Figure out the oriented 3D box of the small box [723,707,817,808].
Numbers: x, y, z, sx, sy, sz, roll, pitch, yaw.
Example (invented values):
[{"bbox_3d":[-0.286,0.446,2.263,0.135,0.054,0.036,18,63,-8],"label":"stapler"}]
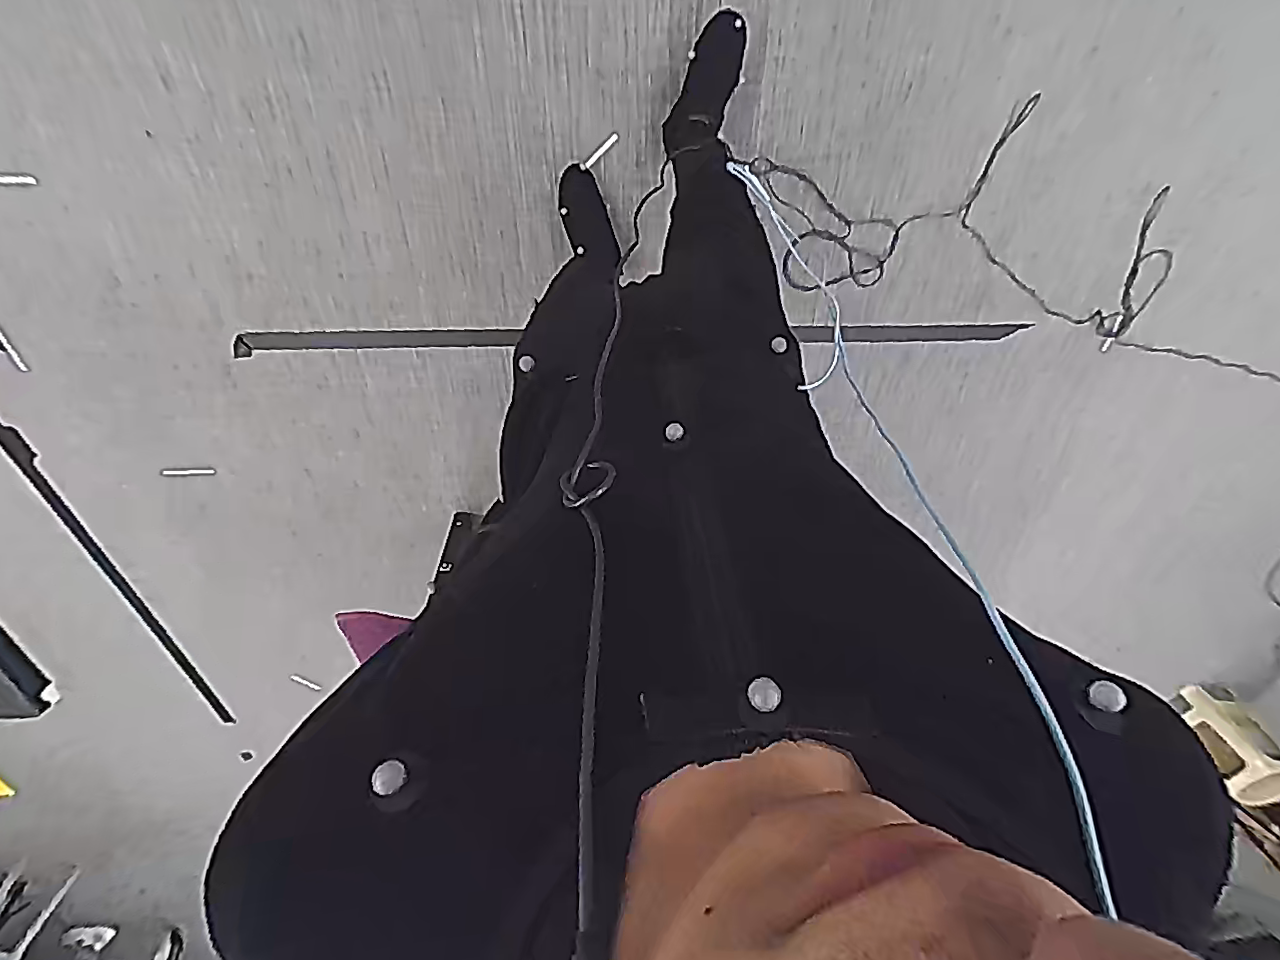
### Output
[{"bbox_3d":[0.313,0.688,1.347,0.179,0.176,0.168,-1,126,-5],"label":"small box"}]
